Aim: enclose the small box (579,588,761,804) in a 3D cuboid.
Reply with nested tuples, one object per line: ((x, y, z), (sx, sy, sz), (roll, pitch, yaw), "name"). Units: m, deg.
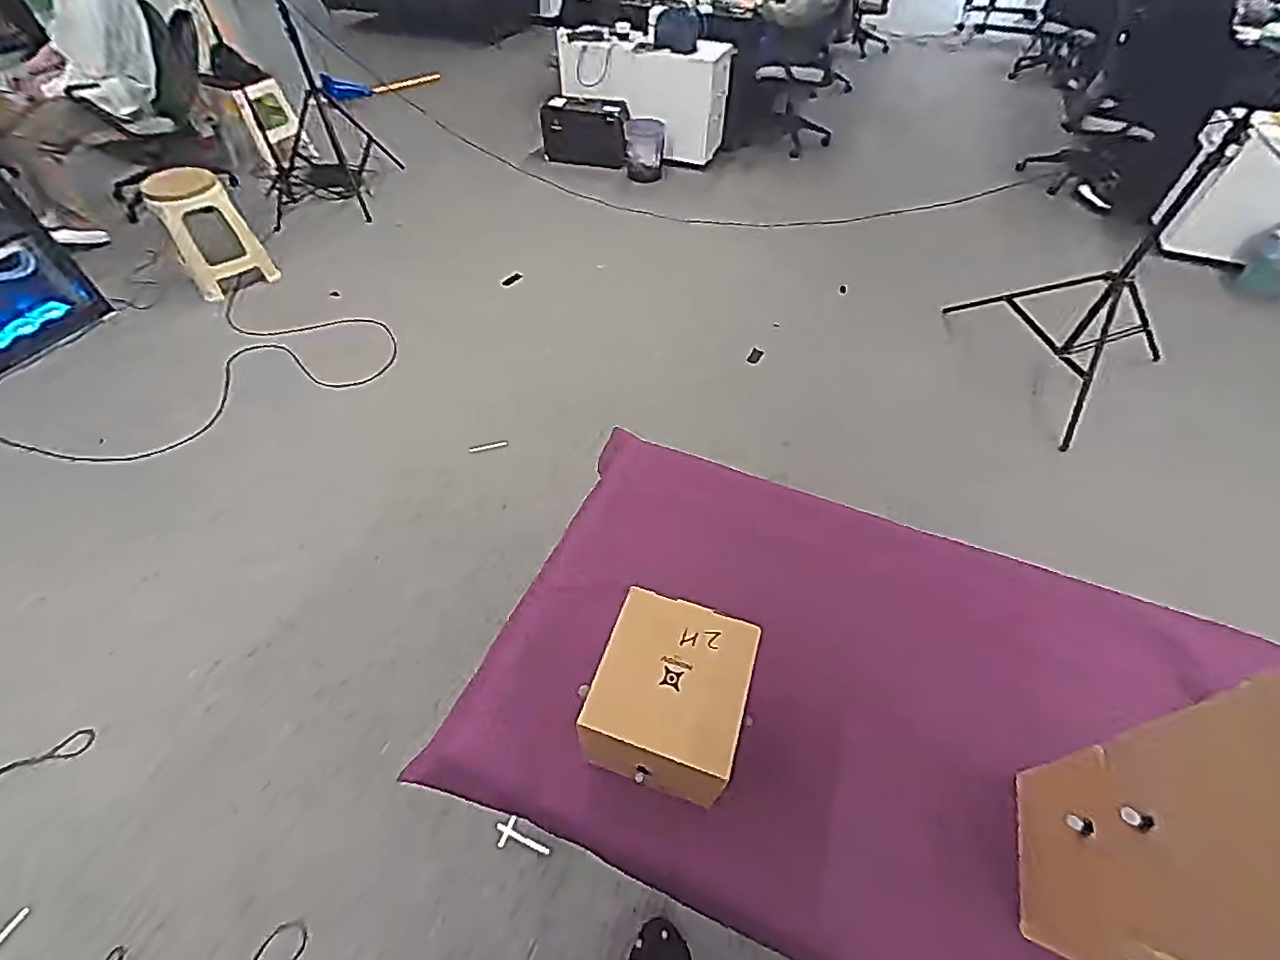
((0.038, 0.268, 0.664), (0.168, 0.176, 0.179), (16, 51, 11), "small box")

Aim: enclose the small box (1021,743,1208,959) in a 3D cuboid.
((0.526, 0.412, 0.559), (0.168, 0.176, 0.179), (18, 52, 14), "small box")
